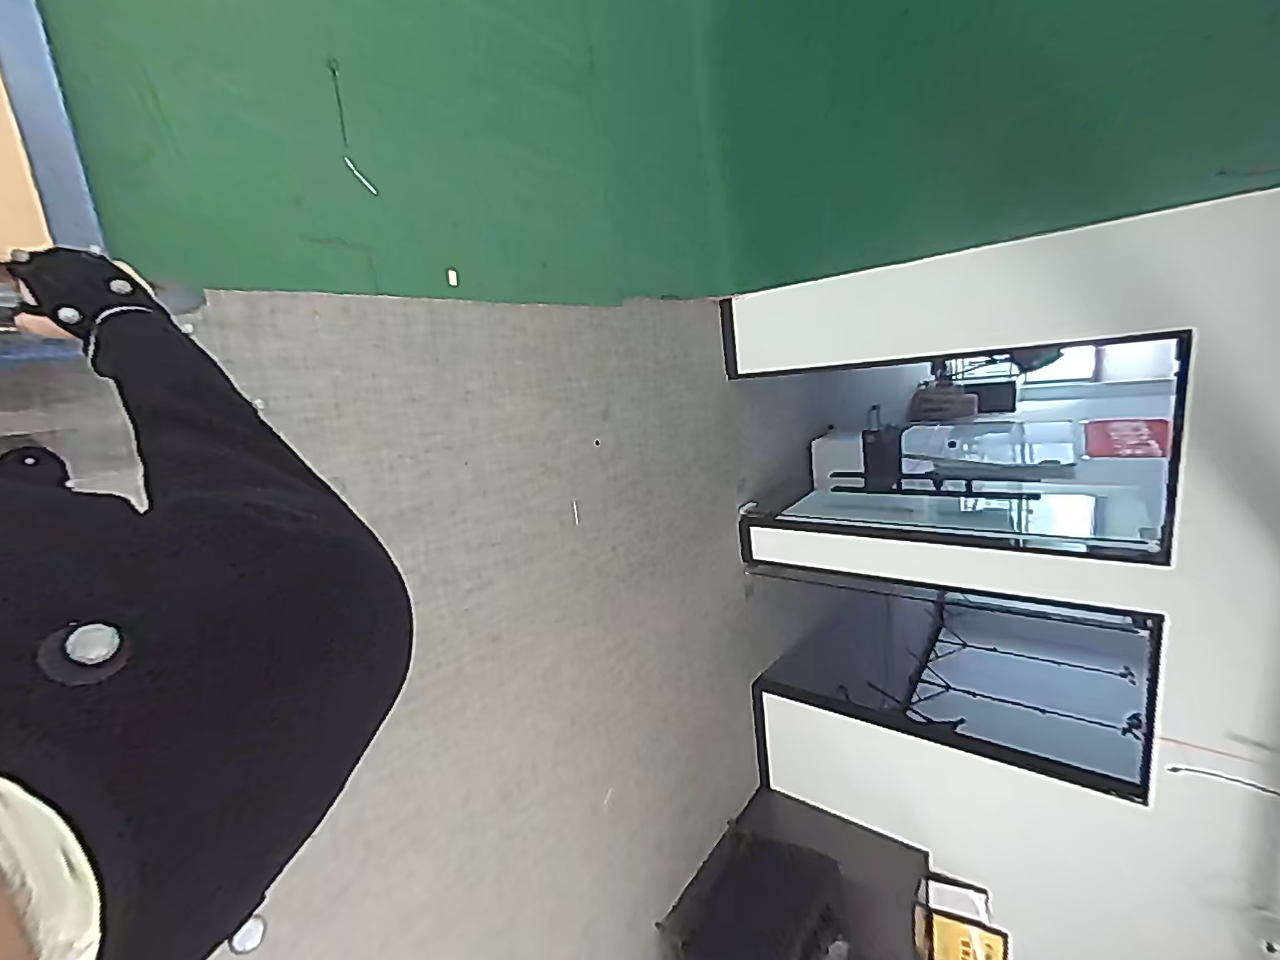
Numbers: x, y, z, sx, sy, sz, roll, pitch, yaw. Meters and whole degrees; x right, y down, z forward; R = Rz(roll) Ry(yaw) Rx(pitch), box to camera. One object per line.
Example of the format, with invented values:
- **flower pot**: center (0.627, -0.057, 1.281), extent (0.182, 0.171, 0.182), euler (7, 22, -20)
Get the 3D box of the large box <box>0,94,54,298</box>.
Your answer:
- **large box**: center (-1.113, -0.485, 0.750), extent (0.320, 0.320, 0.408), euler (-21, 107, -50)
